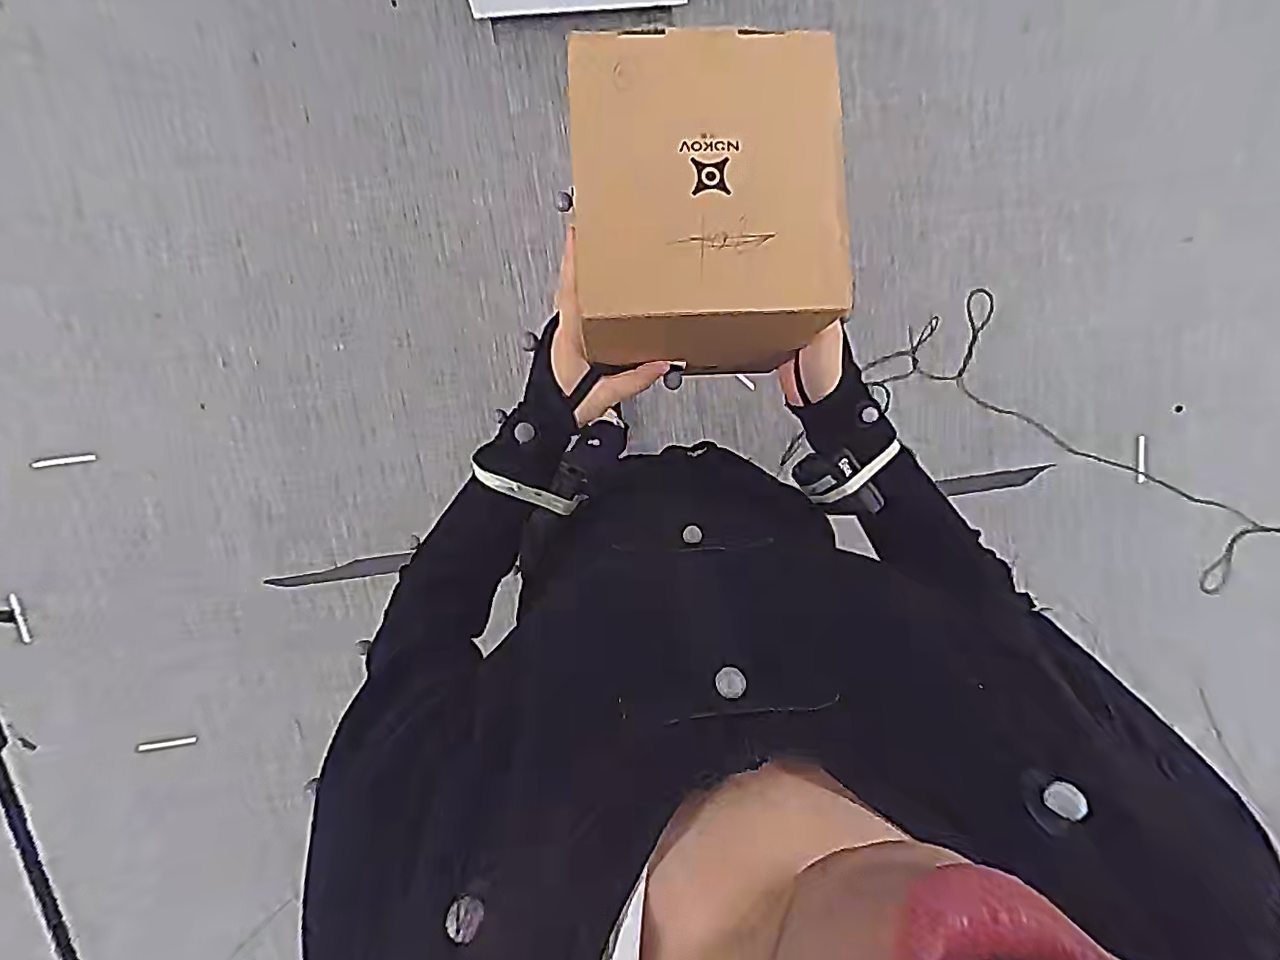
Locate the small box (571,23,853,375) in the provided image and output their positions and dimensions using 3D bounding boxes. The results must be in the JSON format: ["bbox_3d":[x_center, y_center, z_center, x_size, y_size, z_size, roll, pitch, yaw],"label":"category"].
[{"bbox_3d":[0.038,-0.185,0.402,0.168,0.176,0.179,-3,89,-2],"label":"small box"}]
